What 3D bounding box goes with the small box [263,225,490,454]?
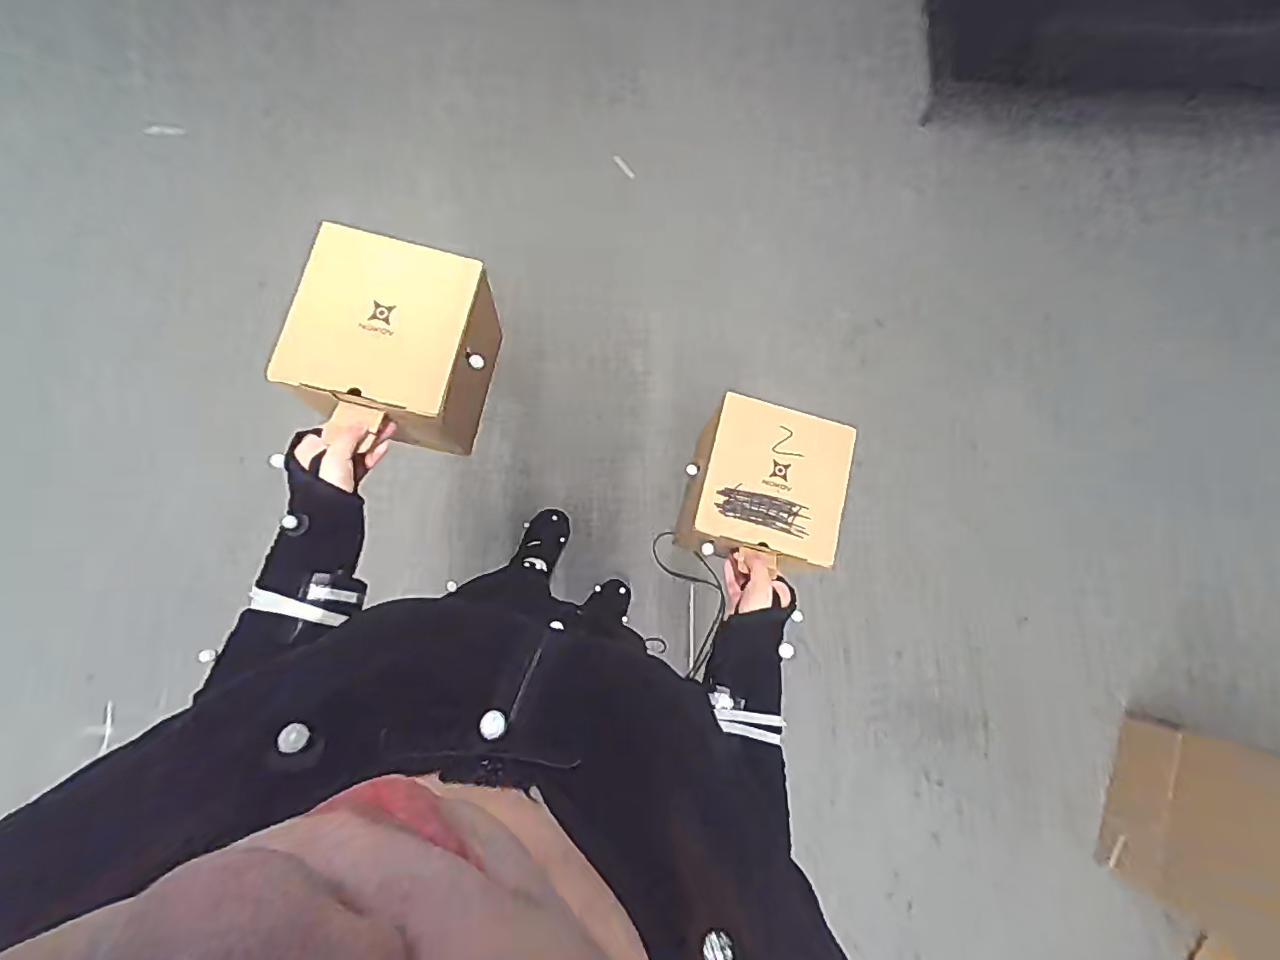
[{"bbox_3d":[-0.275,-0.143,0.613,0.168,0.176,0.179,12,79,-6],"label":"small box"}]
